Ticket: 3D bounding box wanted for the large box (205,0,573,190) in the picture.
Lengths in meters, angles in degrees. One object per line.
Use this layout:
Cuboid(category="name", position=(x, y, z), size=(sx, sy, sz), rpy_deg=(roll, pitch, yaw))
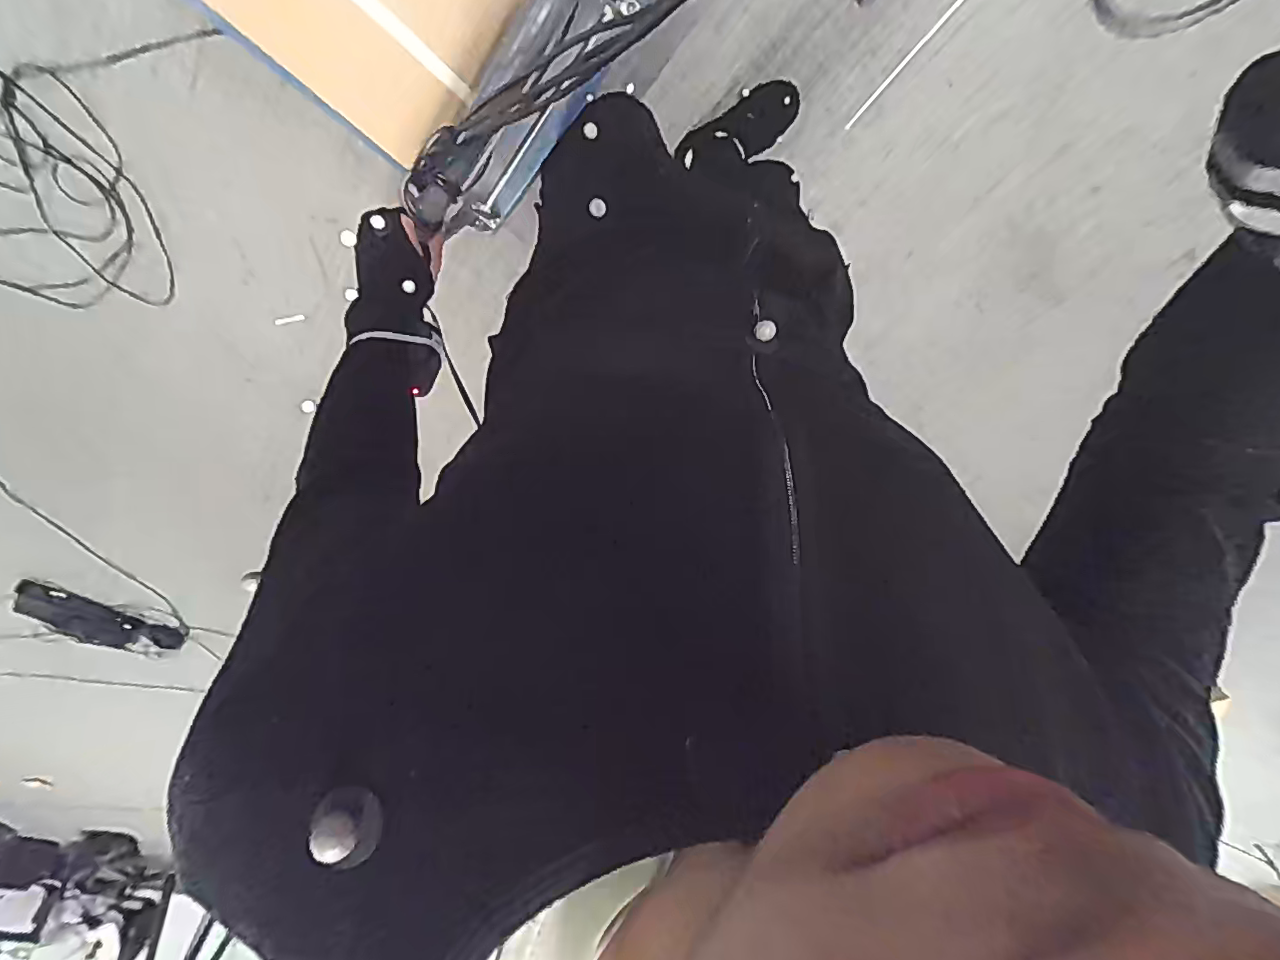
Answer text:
Cuboid(category="large box", position=(-0.366, -0.758, 0.848), size=(0.408, 0.320, 0.320), rpy_deg=(35, 124, -25))
